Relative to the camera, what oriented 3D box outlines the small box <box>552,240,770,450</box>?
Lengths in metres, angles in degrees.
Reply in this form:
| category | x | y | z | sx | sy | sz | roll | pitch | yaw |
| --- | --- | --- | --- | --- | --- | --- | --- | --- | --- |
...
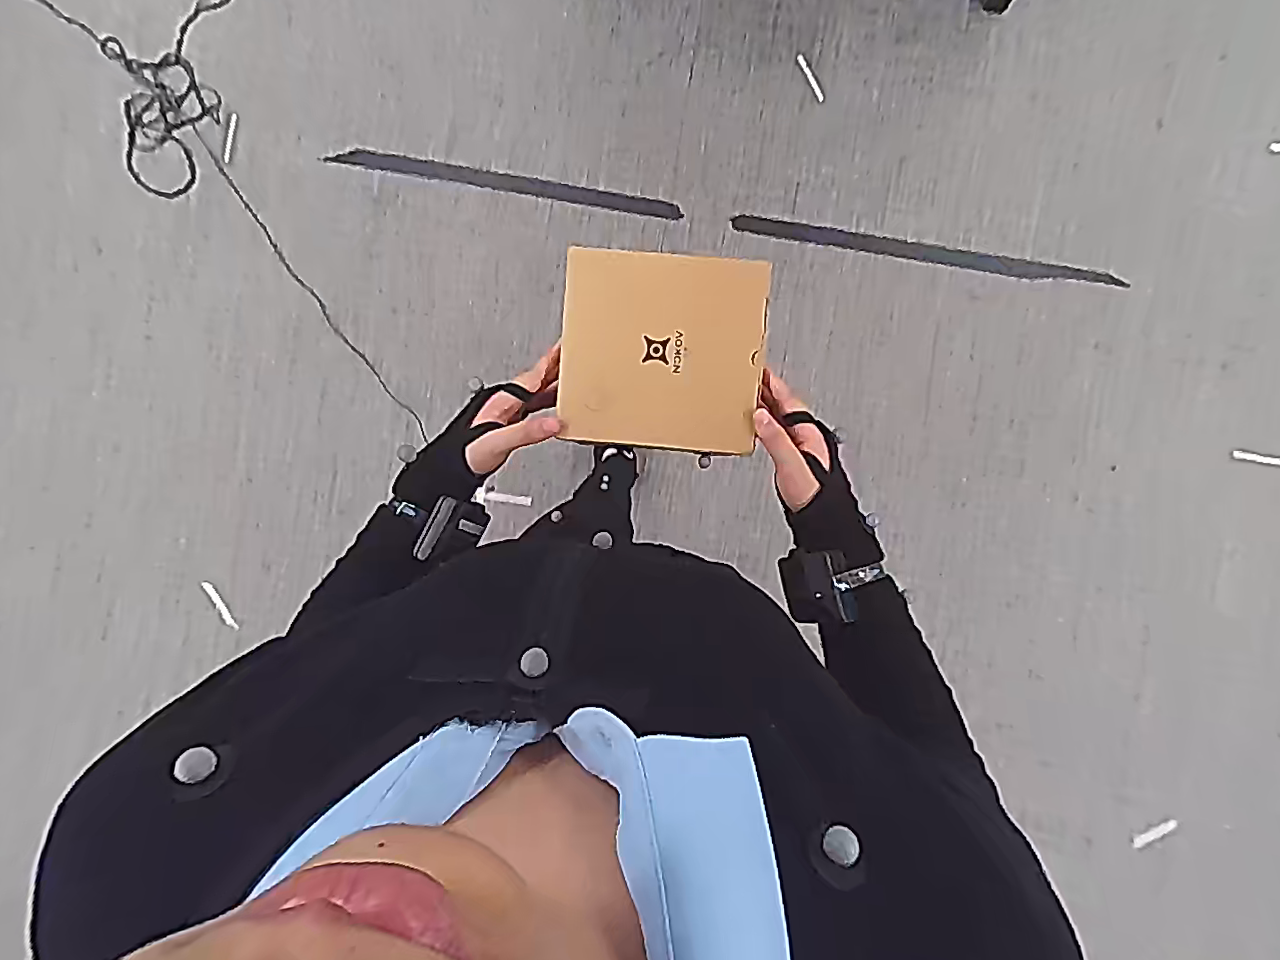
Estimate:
| category | x | y | z | sx | sy | sz | roll | pitch | yaw |
| --- | --- | --- | --- | --- | --- | --- | --- | --- | --- |
| small box | 0.019 | -0.119 | 0.539 | 0.179 | 0.176 | 0.168 | 4 | 92 | 1 |
